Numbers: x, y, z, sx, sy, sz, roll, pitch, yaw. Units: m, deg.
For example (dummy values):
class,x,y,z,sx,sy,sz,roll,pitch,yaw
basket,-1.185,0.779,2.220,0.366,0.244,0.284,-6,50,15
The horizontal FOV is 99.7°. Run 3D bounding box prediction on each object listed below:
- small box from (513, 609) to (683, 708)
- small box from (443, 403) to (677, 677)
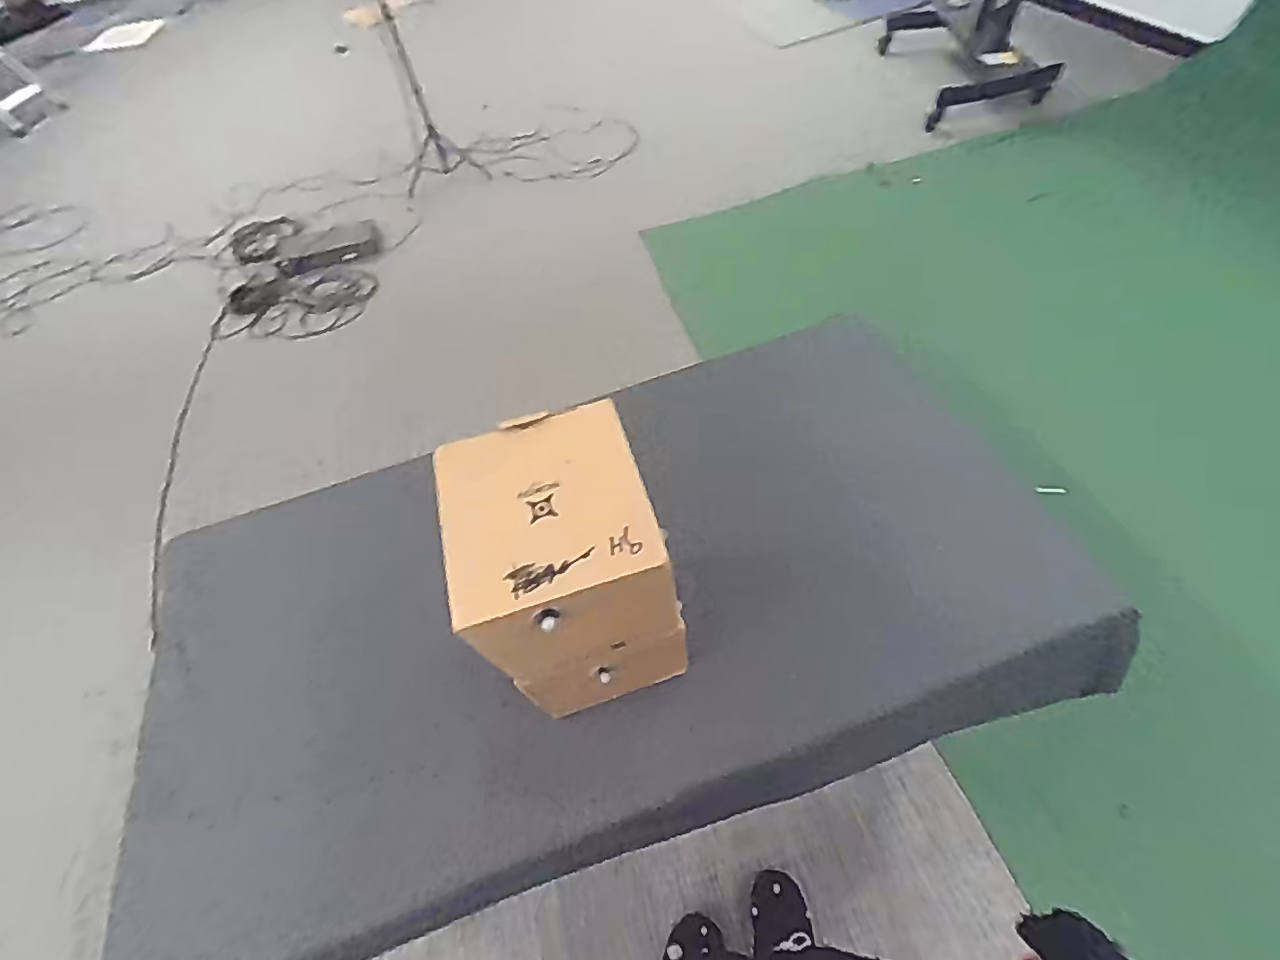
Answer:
class,x,y,z,sx,sy,sz,roll,pitch,yaw
small box,-0.056,0.154,0.650,0.179,0.176,0.168,-18,56,-6
small box,-0.070,0.062,0.519,0.168,0.176,0.179,-19,57,-7
